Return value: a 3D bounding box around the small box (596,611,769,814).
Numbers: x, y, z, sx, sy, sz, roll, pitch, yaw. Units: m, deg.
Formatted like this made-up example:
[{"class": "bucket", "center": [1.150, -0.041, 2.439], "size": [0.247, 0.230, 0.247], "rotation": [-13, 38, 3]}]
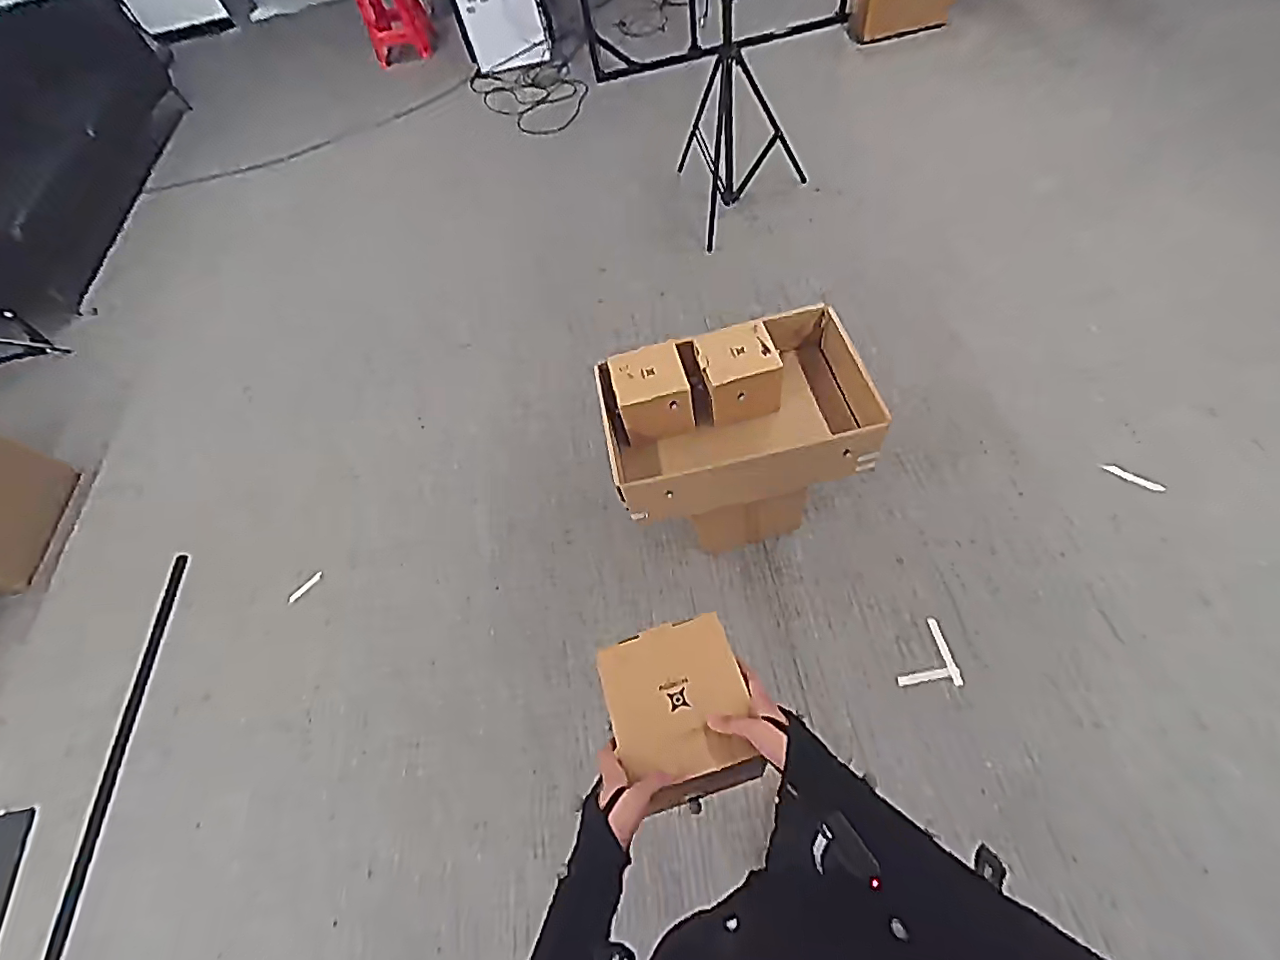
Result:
[{"class": "small box", "center": [0.052, 0.302, 0.698], "size": [0.168, 0.176, 0.179], "rotation": [-17, 52, -4]}]
